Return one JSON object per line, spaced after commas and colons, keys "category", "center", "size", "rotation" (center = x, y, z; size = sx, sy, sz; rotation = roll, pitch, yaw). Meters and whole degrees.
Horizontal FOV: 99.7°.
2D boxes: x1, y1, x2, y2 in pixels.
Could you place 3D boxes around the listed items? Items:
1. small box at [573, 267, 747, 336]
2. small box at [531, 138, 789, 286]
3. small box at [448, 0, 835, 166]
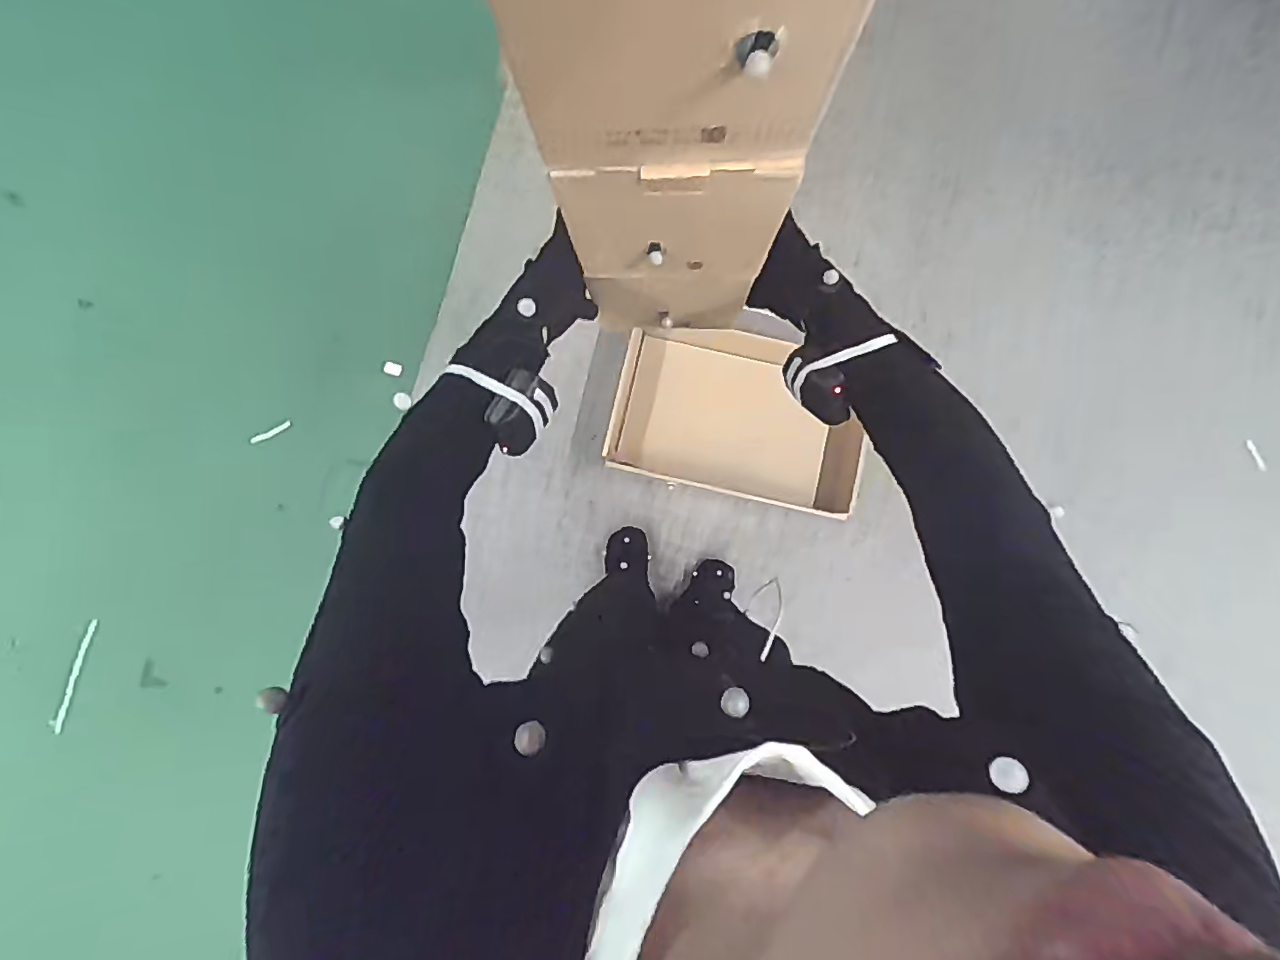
{"category": "small box", "center": [0.024, -0.267, 0.586], "size": [0.168, 0.176, 0.179], "rotation": [1, 90, 4]}
{"category": "small box", "center": [0.015, -0.270, 0.423], "size": [0.168, 0.176, 0.179], "rotation": [-1, 89, 3]}
{"category": "small box", "center": [0.004, -0.278, 0.260], "size": [0.168, 0.176, 0.179], "rotation": [-2, 89, 2]}
